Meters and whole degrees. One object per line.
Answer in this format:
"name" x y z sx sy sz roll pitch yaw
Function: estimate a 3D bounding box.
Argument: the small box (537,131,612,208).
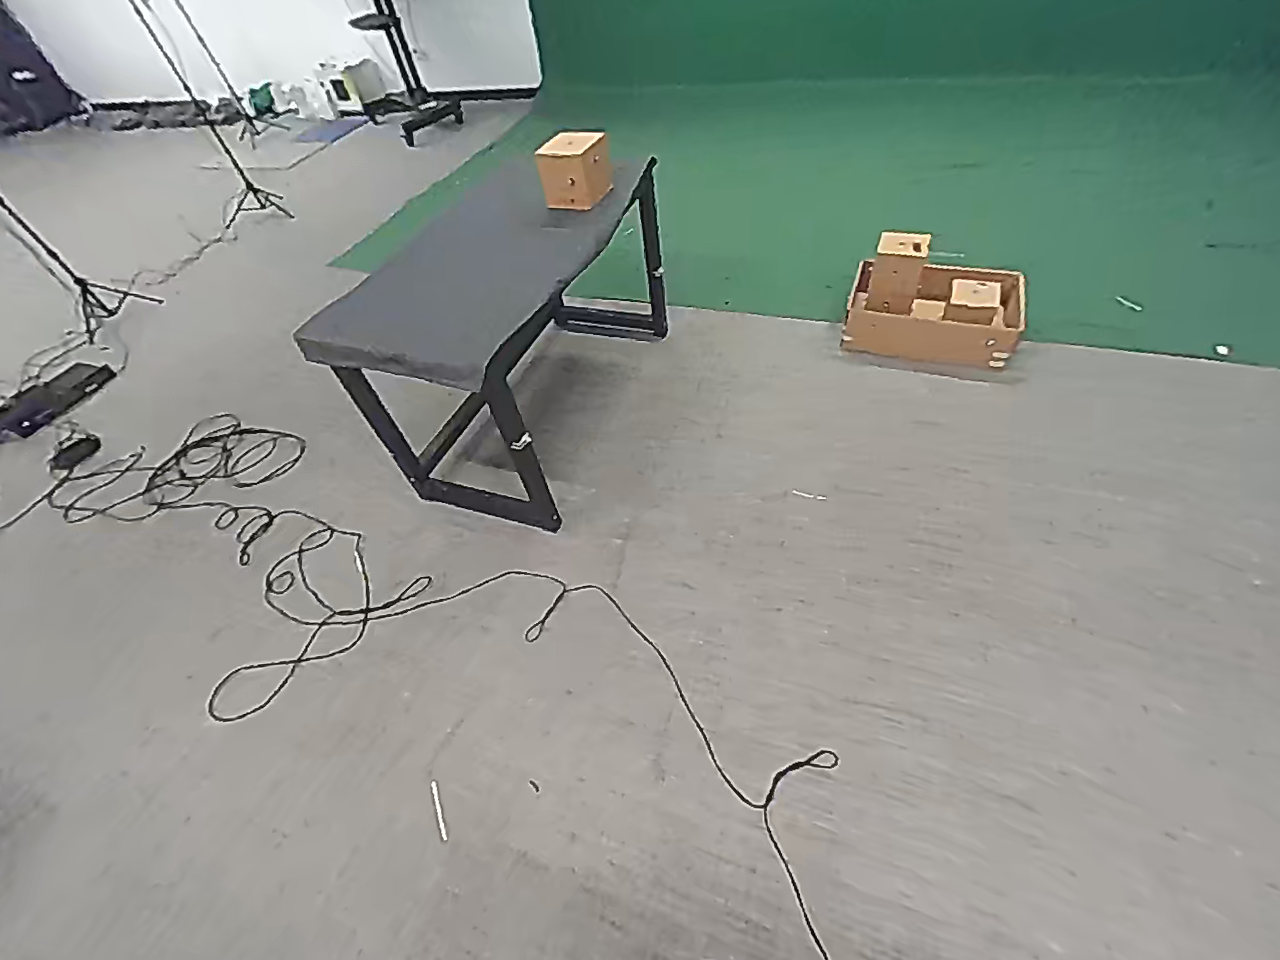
"small box" -0.201 -0.998 1.740 0.168 0.176 0.179 15 53 20

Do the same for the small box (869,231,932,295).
"small box" 1.007 -0.839 2.098 0.179 0.176 0.168 14 54 19

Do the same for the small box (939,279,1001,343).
"small box" 1.295 -0.665 2.129 0.168 0.176 0.179 15 56 21

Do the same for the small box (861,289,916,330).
"small box" 1.026 -0.738 2.226 0.179 0.176 0.168 14 55 18
